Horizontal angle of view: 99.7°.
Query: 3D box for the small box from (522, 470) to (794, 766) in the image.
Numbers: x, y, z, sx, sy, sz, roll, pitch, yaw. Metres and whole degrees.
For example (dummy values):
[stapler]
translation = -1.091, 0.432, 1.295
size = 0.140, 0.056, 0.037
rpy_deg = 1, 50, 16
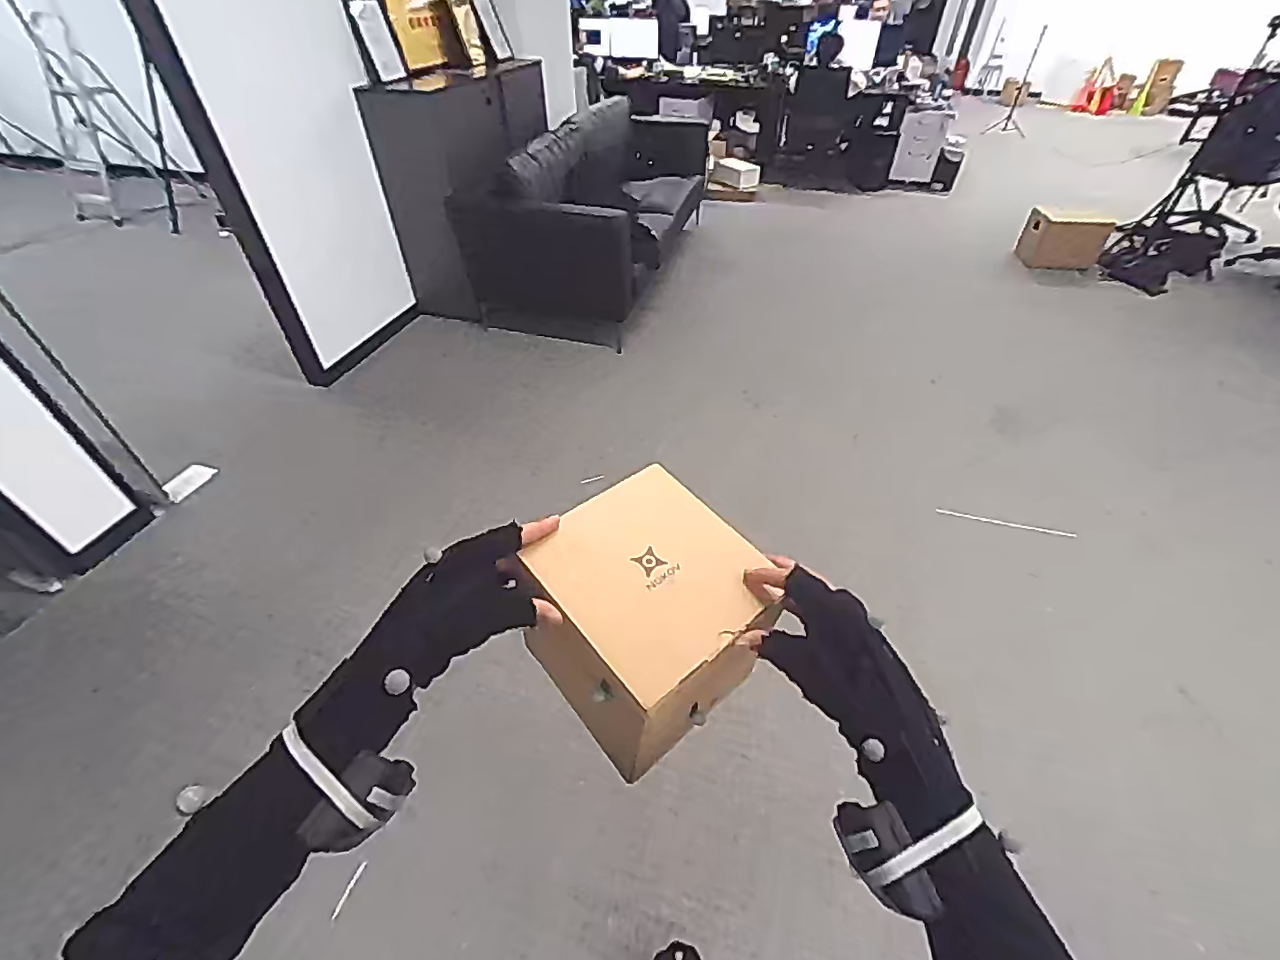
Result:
[small box]
translation = 0.006, 0.128, 0.510
size = 0.168, 0.176, 0.179
rpy_deg = -29, 57, -30
